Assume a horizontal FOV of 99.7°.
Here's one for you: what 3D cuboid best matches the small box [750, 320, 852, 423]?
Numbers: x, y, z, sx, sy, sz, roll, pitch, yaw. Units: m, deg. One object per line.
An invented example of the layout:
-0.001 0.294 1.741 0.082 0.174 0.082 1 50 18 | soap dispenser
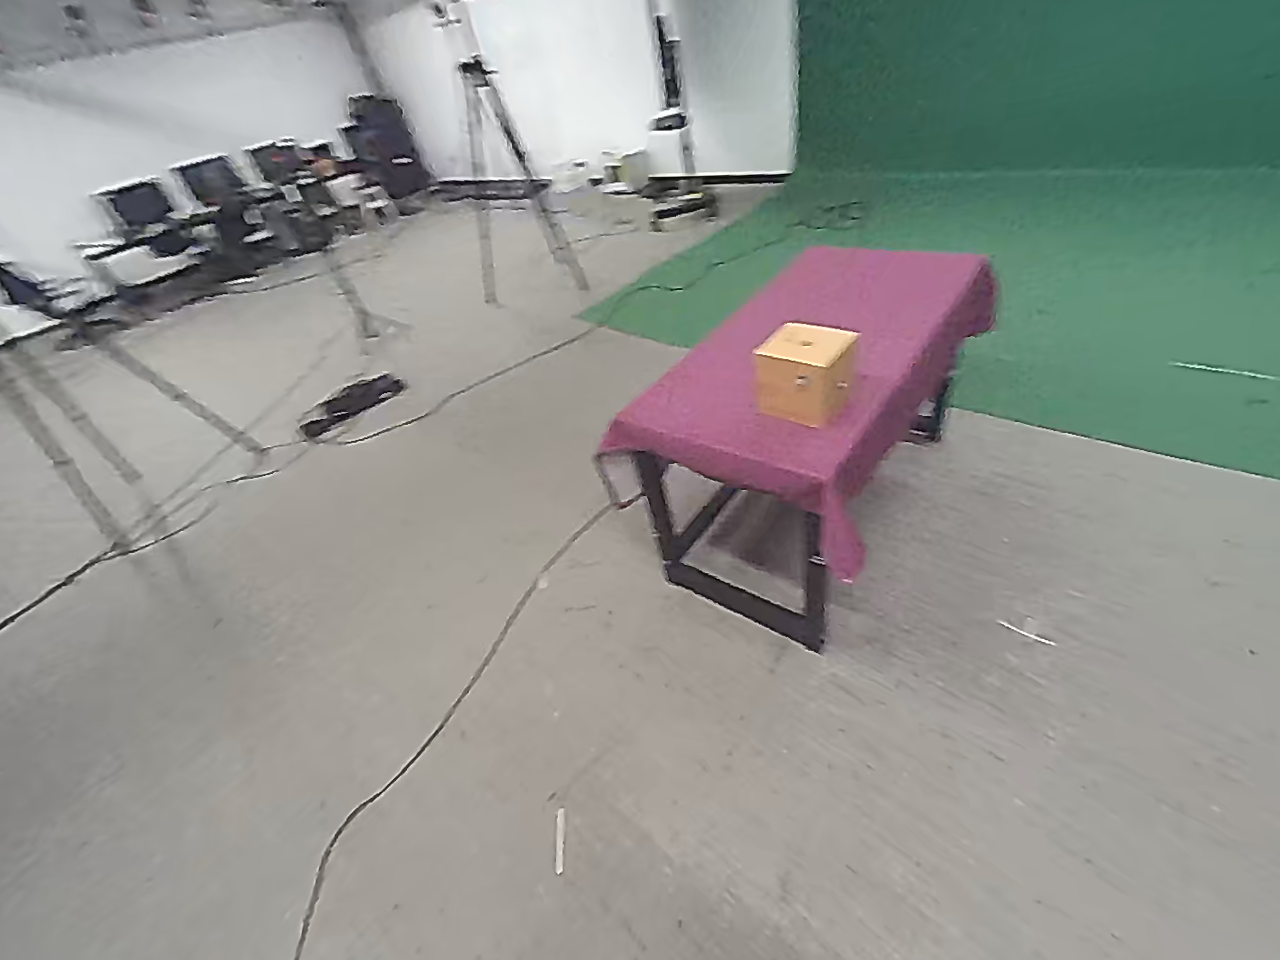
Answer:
0.384 -0.257 1.289 0.179 0.176 0.168 23 52 36 | small box
